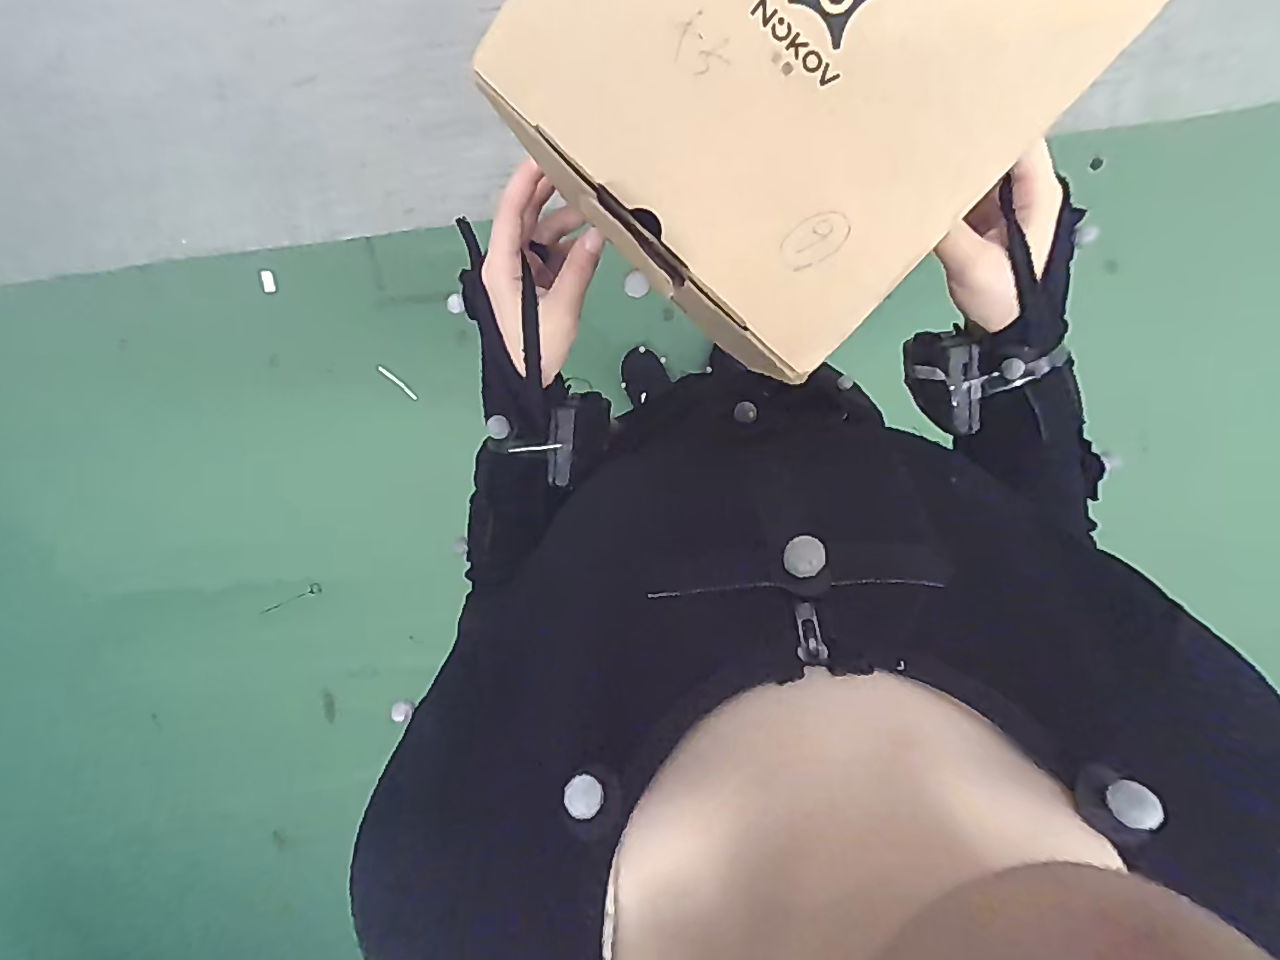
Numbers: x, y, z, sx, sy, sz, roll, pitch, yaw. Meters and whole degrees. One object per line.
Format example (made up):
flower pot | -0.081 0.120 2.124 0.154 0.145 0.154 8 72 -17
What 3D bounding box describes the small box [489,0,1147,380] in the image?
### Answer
small box | 0.063 -0.172 0.271 0.168 0.176 0.179 41 103 -6
